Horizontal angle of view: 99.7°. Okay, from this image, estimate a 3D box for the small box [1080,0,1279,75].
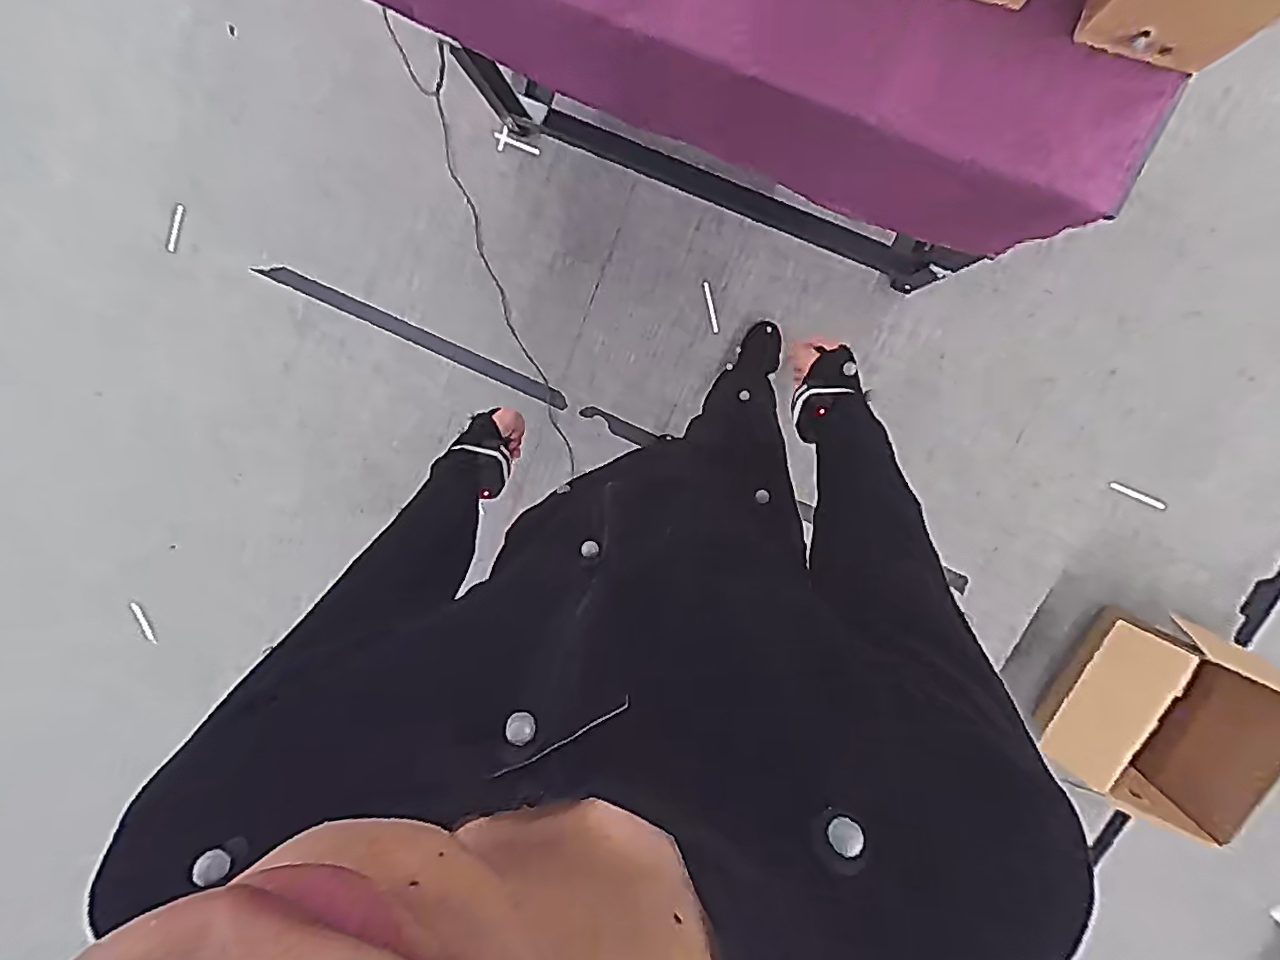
[{"bbox_3d":[0.655,-0.614,0.607,0.168,0.176,0.179,20,101,4],"label":"small box"}]
